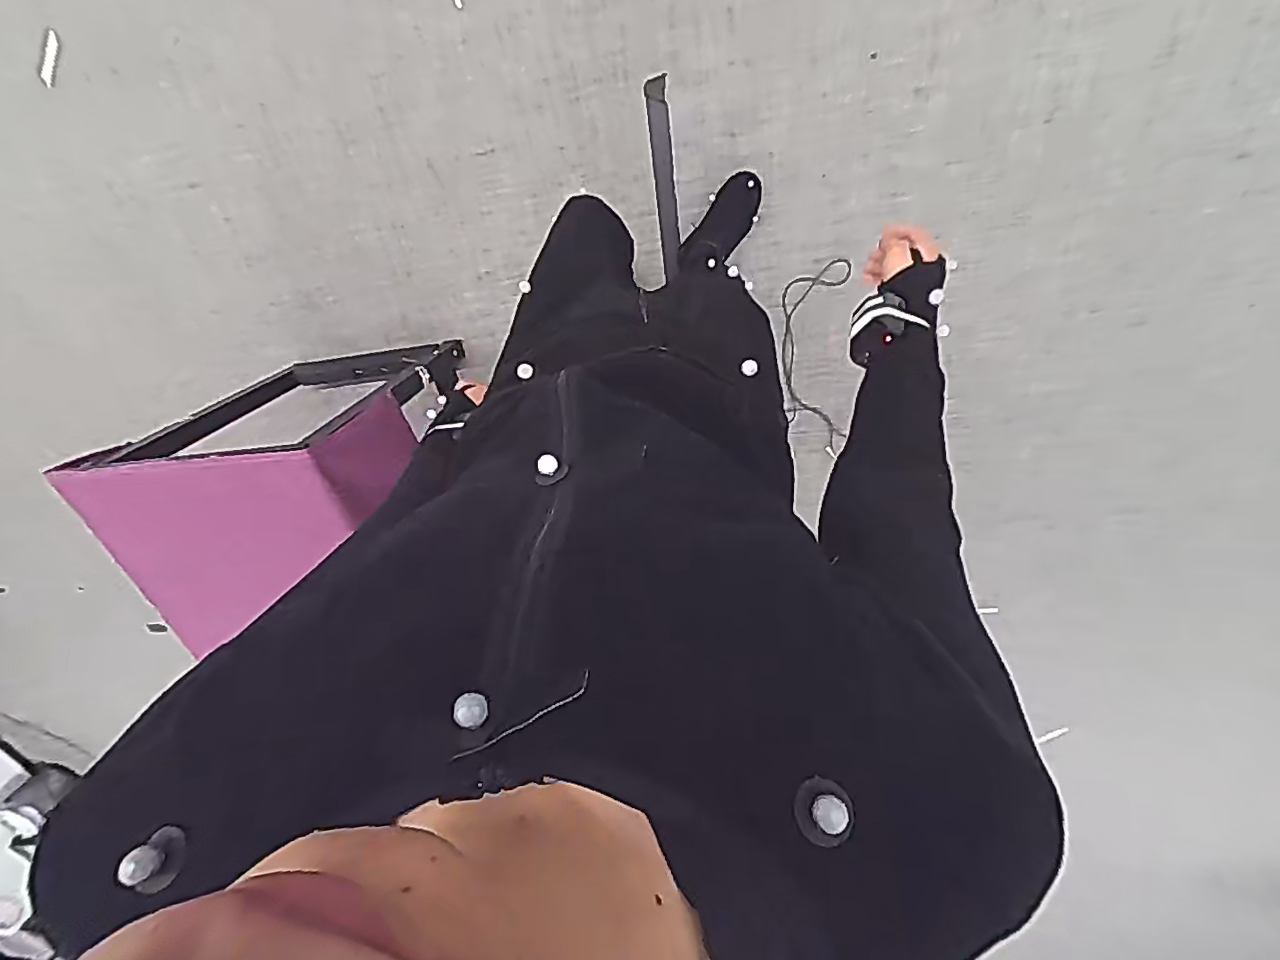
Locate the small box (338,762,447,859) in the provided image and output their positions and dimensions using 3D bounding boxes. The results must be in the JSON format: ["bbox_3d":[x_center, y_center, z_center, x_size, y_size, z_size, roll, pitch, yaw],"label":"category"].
[{"bbox_3d":[-0.654,0.882,1.452,0.179,0.176,0.168,-8,120,12],"label":"small box"}]
